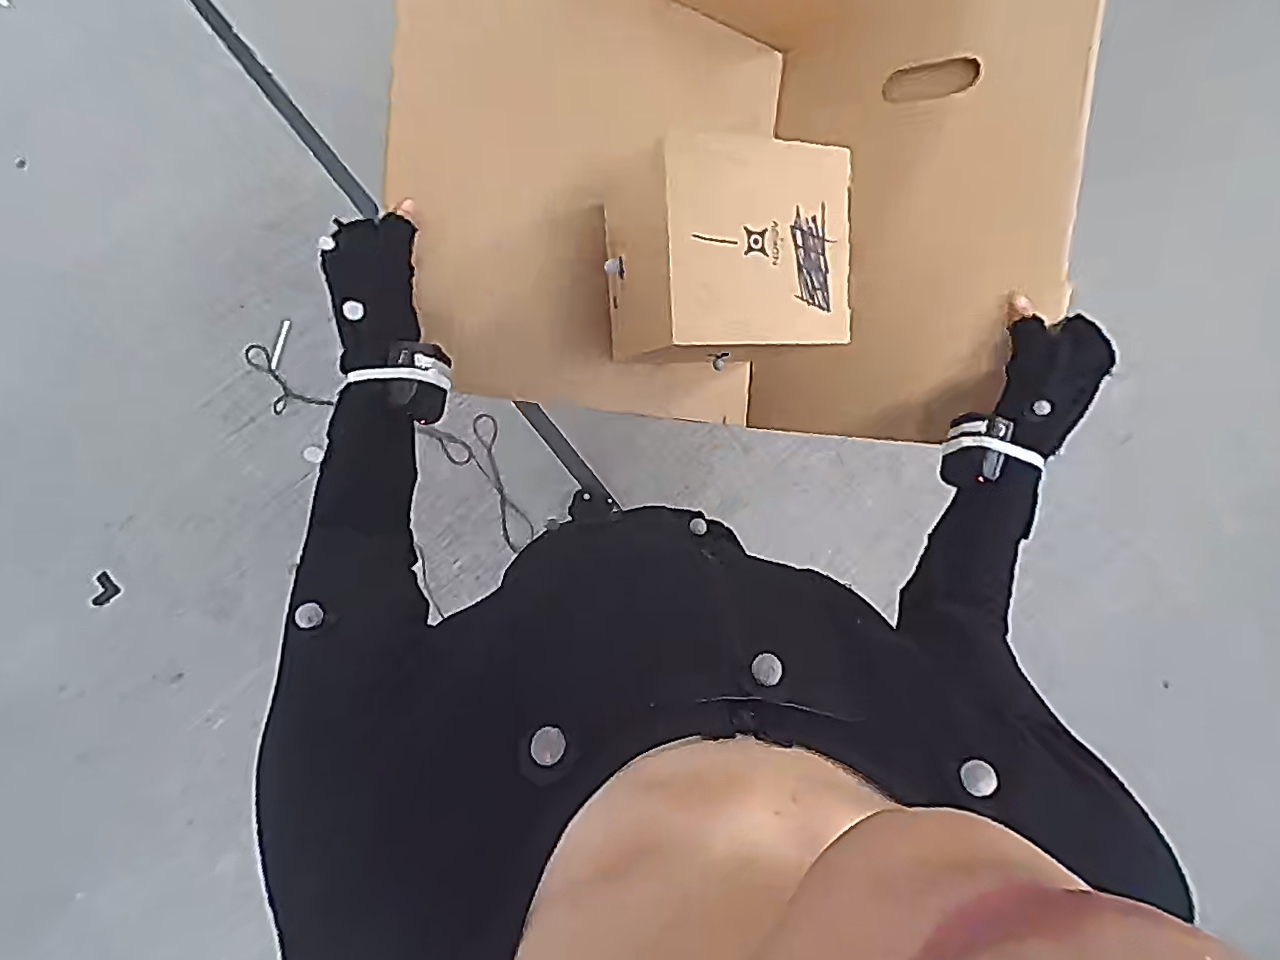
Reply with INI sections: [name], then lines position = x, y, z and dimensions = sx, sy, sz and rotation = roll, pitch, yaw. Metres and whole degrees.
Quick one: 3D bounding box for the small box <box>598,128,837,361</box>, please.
[small box]
position = 0.068, -0.210, 0.532
dimensions = 0.179, 0.176, 0.168
rotation = -7, 98, -18
